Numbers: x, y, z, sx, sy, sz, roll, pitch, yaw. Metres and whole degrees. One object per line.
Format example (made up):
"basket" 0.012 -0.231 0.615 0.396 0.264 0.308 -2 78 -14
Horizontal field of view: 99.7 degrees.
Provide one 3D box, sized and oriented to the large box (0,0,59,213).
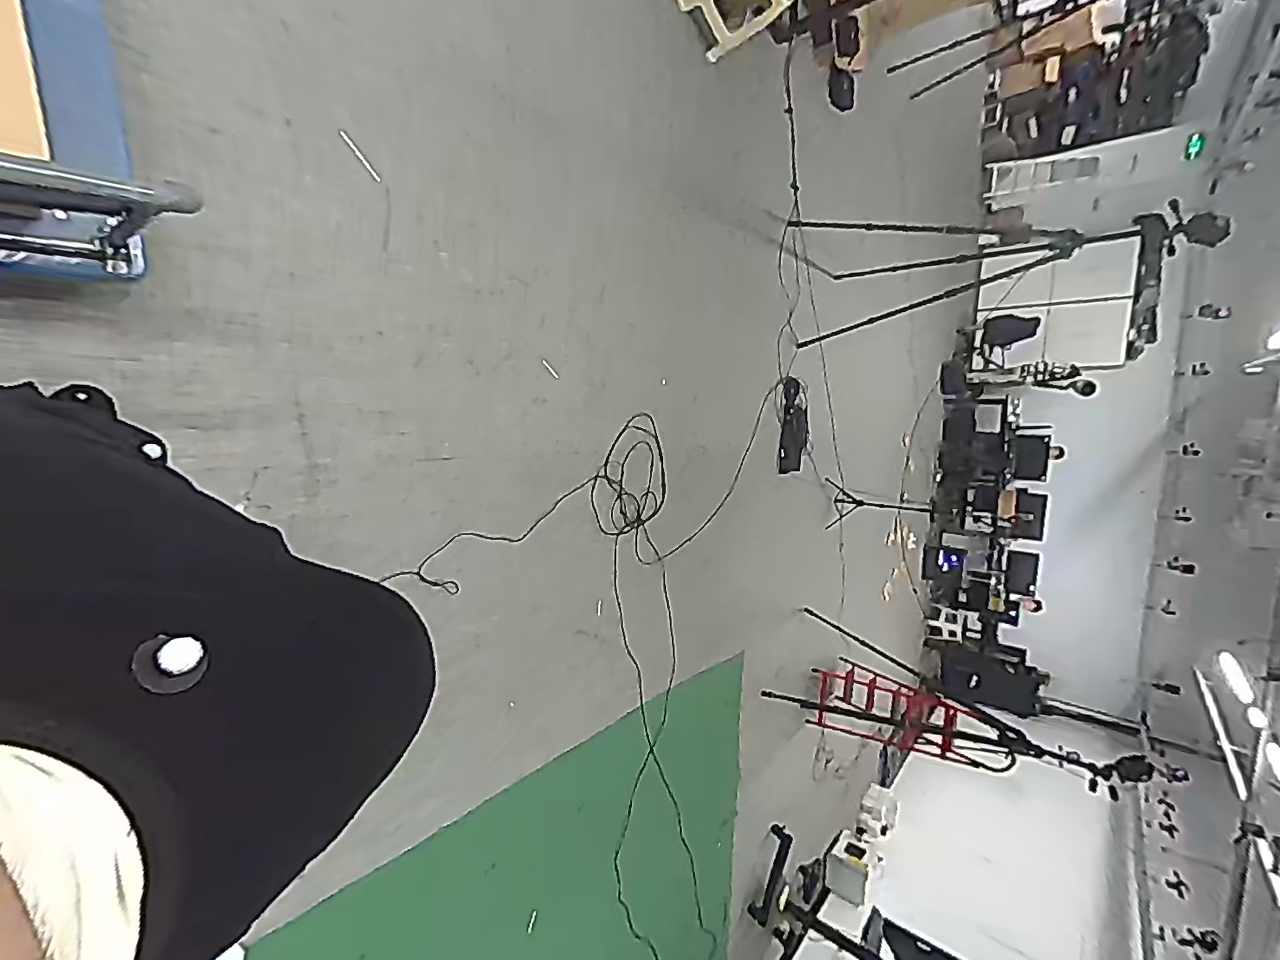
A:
"large box" -1.070 -0.637 0.741 0.320 0.320 0.408 -14 105 -48
